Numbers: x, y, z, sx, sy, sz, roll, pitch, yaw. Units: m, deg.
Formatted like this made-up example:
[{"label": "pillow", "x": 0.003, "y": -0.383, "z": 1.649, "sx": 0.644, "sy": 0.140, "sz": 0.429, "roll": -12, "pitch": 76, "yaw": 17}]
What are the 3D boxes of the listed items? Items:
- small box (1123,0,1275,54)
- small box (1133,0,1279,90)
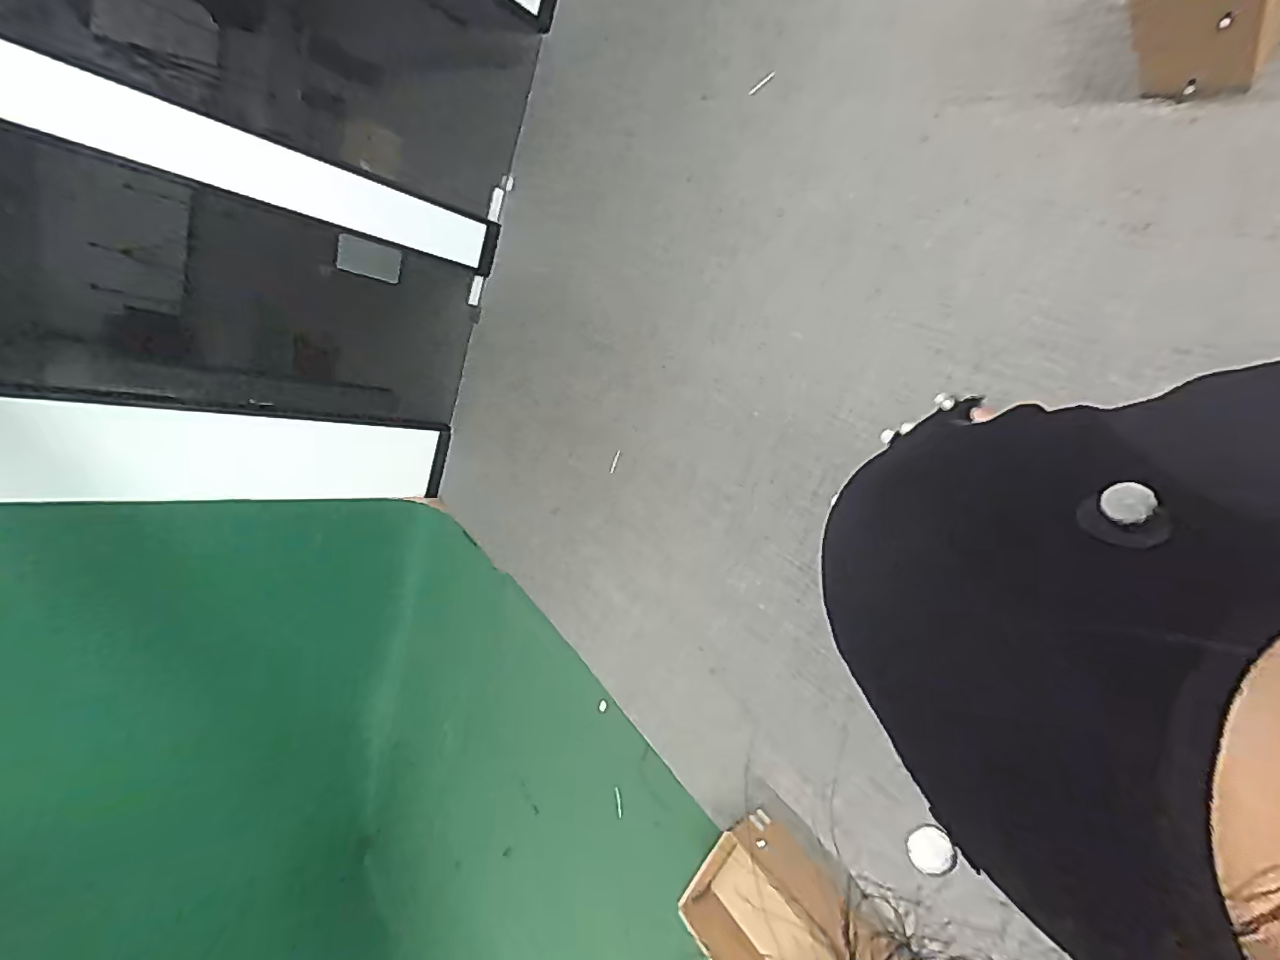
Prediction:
[{"label": "small box", "x": 0.953, "y": -0.850, "z": 0.893, "sx": 0.179, "sy": 0.176, "sz": 0.168, "roll": 31, "pitch": 110, "yaw": 43}, {"label": "small box", "x": 1.072, "y": -0.858, "z": 1.004, "sx": 0.179, "sy": 0.176, "sz": 0.168, "roll": 33, "pitch": 112, "yaw": 40}]
